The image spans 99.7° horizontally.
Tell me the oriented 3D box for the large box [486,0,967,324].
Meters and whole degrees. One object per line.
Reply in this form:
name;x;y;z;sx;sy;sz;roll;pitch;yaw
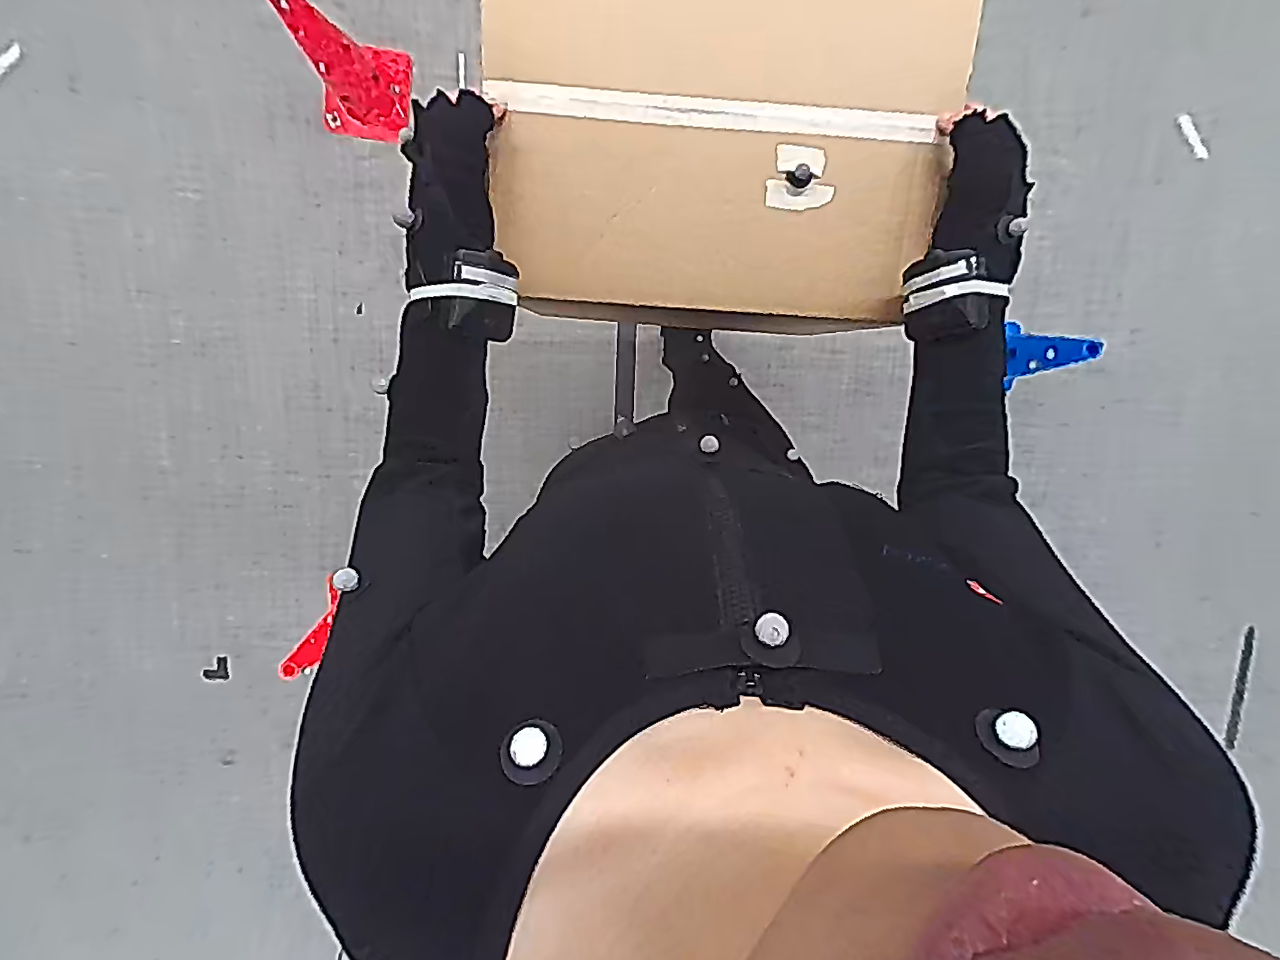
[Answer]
large box;0.062;-0.352;0.604;0.408;0.320;0.320;3;103;-3

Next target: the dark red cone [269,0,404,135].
dark red cone;-0.649;-0.898;1.100;0.201;0.394;0.202;7;99;-3

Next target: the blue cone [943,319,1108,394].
blue cone;0.902;-0.297;1.262;0.192;0.380;0.193;4;99;-3

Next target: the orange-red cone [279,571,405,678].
orange-red cone;-0.754;0.378;1.328;0.198;0.360;0.199;-1;101;0
